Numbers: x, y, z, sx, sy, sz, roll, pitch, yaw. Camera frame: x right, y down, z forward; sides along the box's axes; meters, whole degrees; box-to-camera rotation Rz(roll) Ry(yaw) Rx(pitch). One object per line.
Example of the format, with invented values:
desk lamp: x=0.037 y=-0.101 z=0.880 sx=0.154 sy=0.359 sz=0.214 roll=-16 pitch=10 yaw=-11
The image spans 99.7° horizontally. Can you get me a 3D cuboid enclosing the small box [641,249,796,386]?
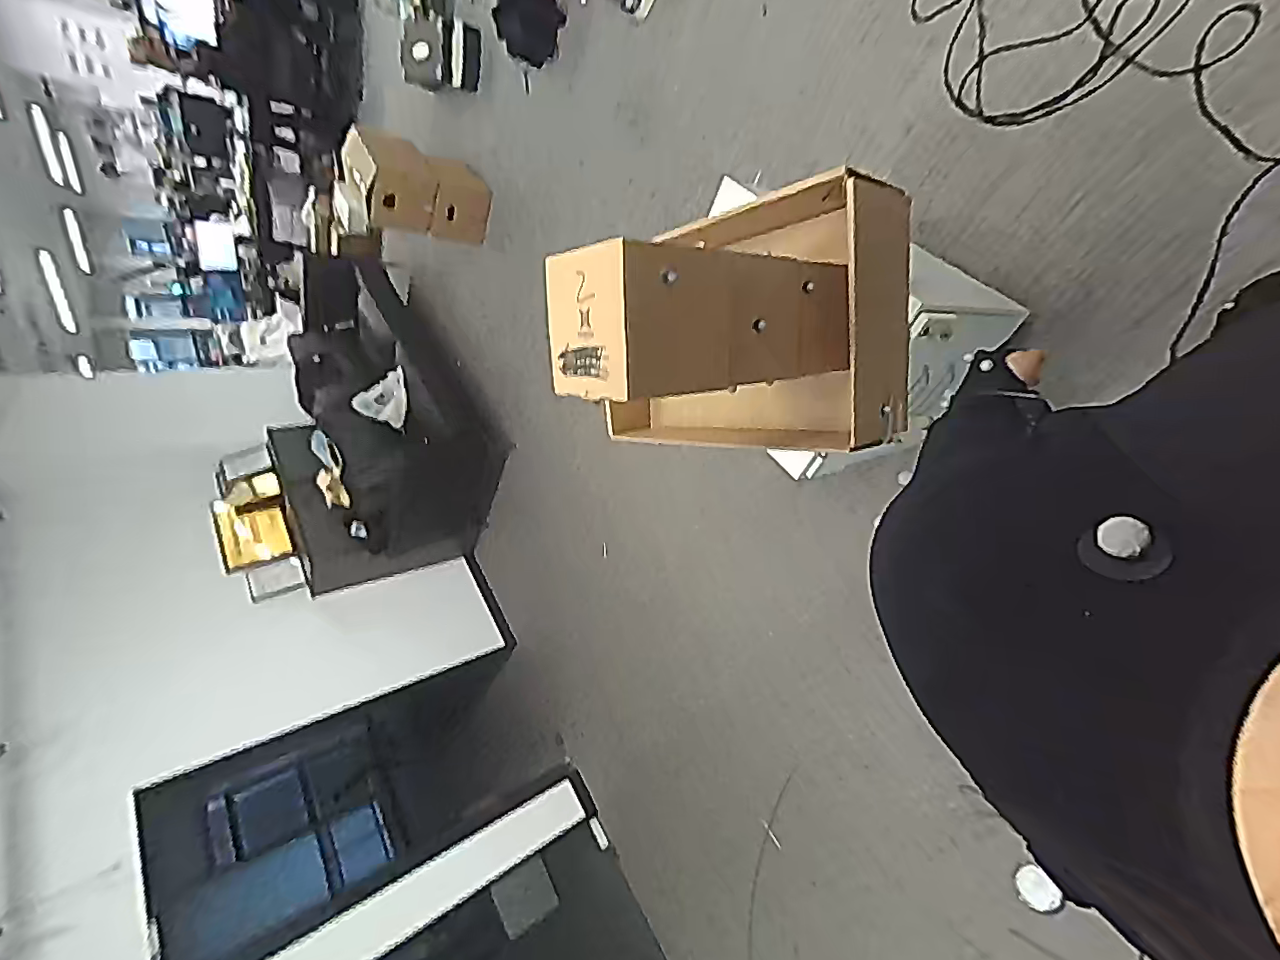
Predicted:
small box: x=0.121 y=-0.237 z=0.819 sx=0.168 sy=0.176 sz=0.179 roll=11 pitch=110 yaw=51
